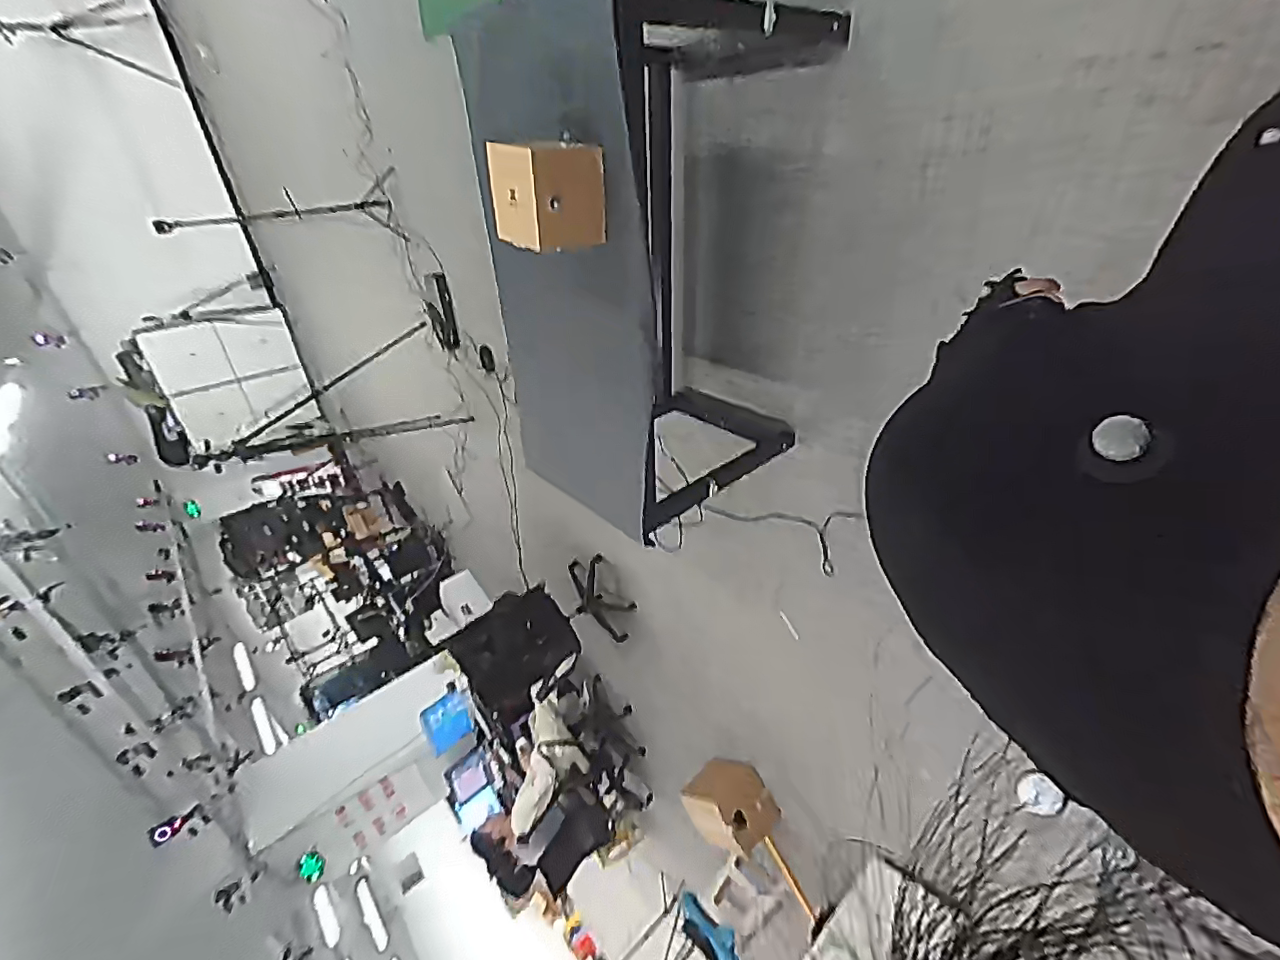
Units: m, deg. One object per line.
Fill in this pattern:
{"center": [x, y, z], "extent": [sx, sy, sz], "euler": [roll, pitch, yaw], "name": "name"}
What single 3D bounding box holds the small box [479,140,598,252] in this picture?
{"center": [-0.196, -0.573, 1.083], "extent": [0.168, 0.176, 0.179], "euler": [32, 135, 37], "name": "small box"}
